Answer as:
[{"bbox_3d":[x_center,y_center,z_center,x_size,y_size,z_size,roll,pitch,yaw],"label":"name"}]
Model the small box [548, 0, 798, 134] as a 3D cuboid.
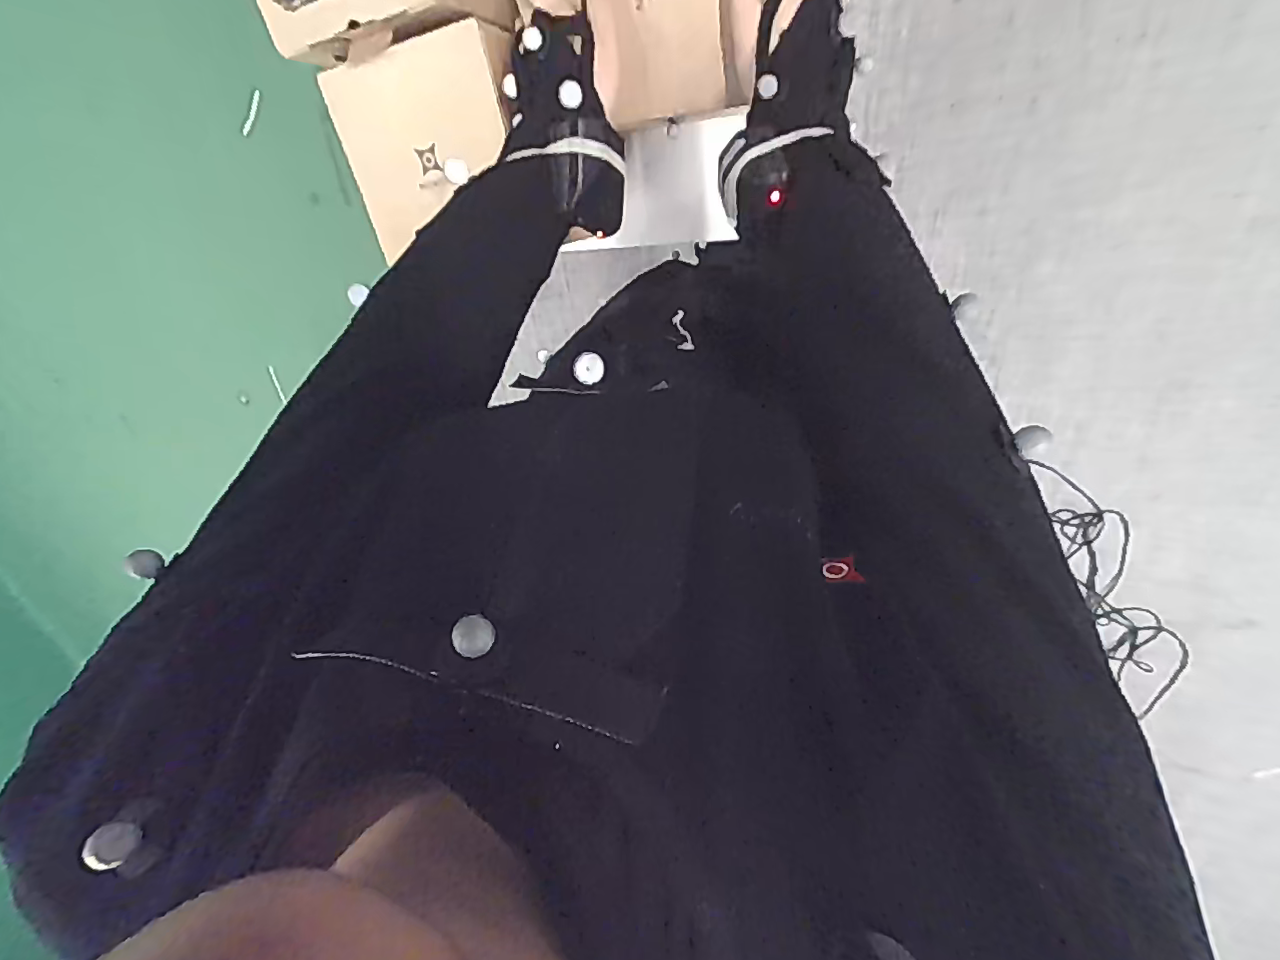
[{"bbox_3d":[0.035,-0.390,0.443,0.179,0.176,0.168,2,123,16],"label":"small box"}]
